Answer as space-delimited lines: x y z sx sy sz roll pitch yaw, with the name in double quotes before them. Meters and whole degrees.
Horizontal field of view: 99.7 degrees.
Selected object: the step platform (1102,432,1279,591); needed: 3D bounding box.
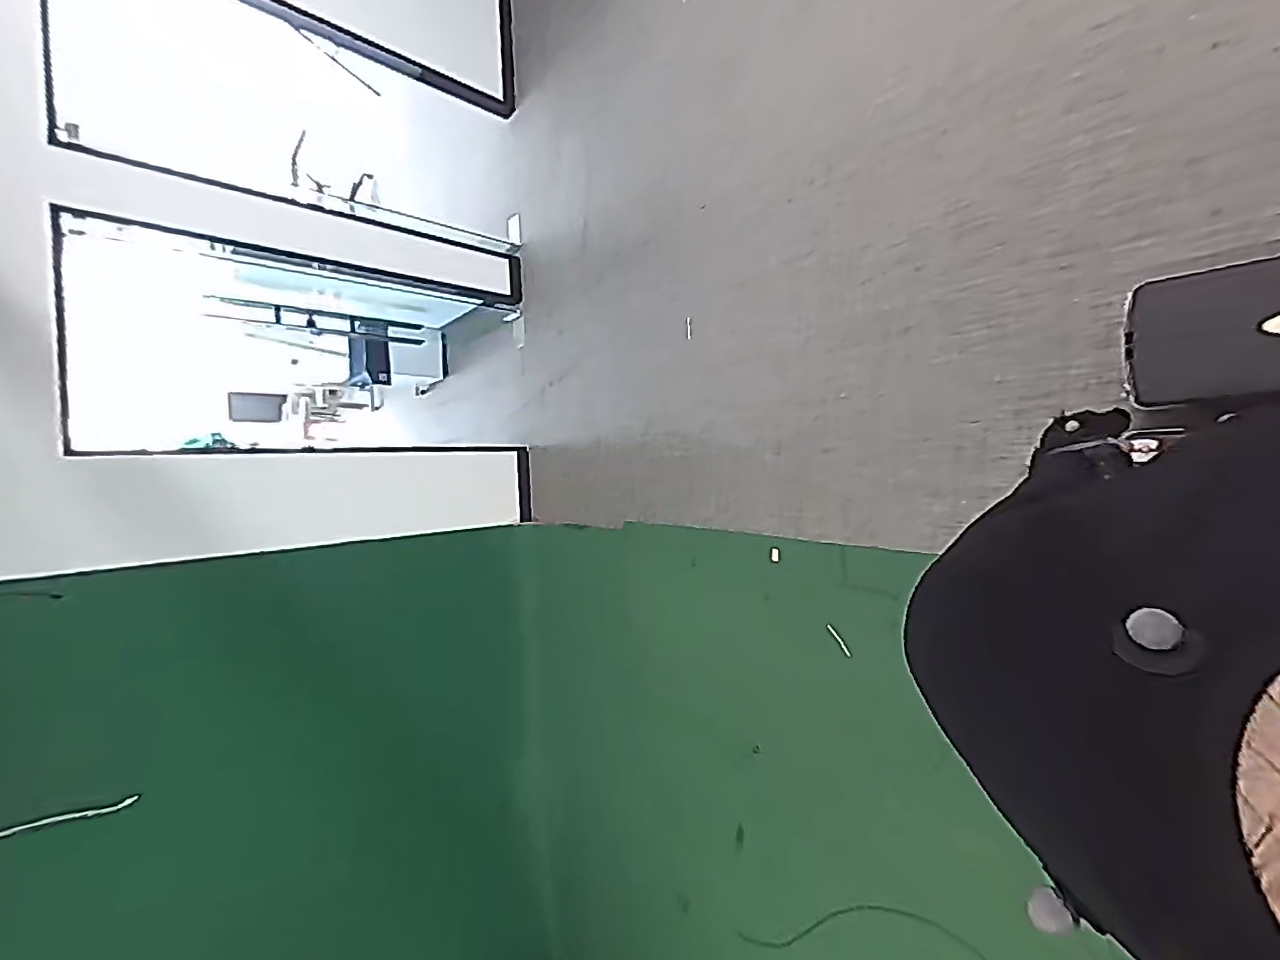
"step platform" 1.179 0.054 0.843 0.684 0.204 0.286 -1 92 48
